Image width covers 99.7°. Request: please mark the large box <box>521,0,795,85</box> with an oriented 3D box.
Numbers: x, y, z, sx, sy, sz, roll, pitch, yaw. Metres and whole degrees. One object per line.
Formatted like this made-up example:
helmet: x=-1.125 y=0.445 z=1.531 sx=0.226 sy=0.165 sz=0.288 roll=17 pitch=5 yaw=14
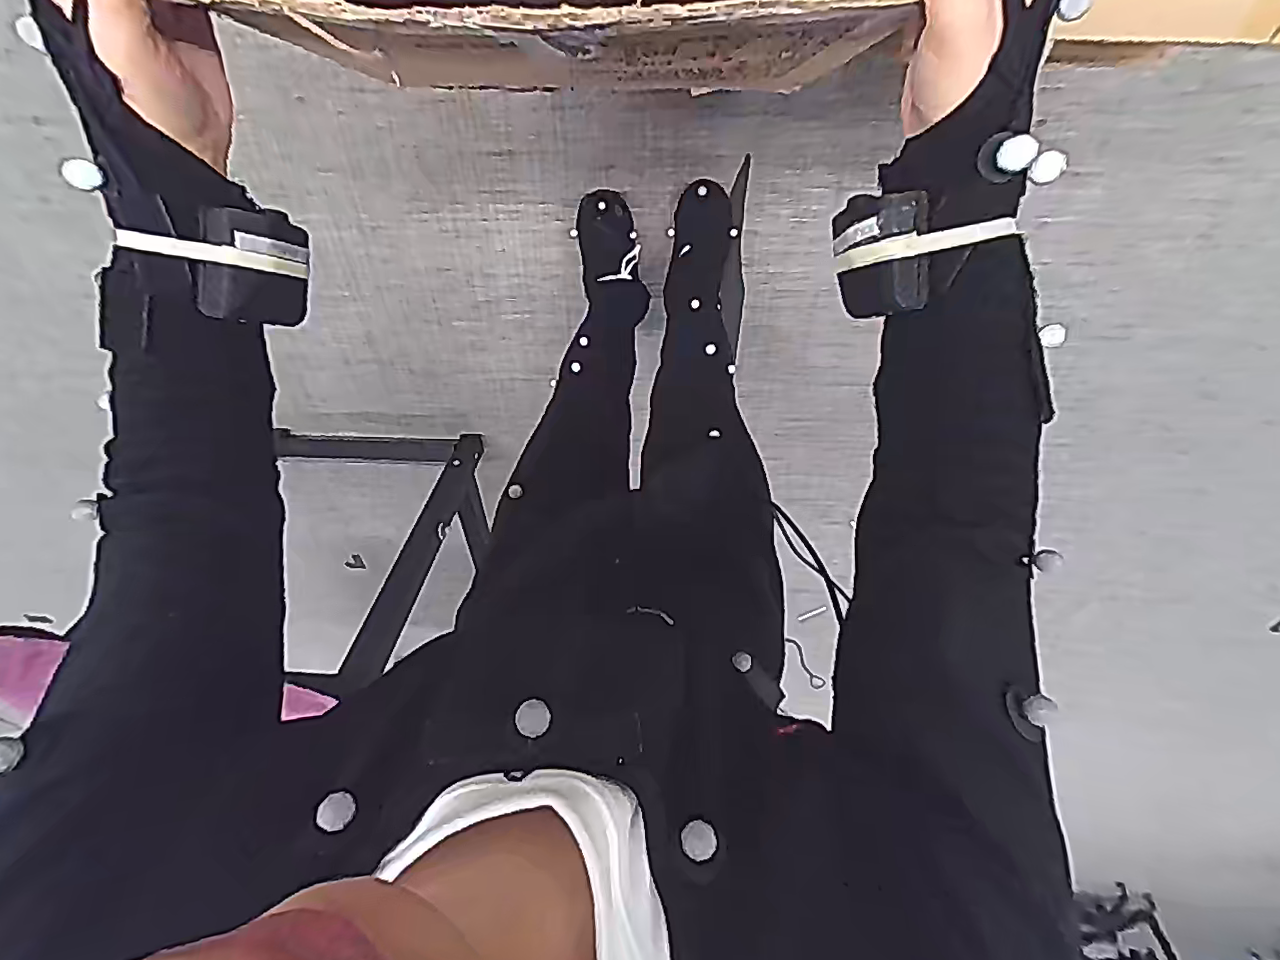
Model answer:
large box: x=0.019 y=-0.732 z=0.631 sx=0.320 sy=0.320 sz=0.408 roll=1 pitch=132 yaw=4
